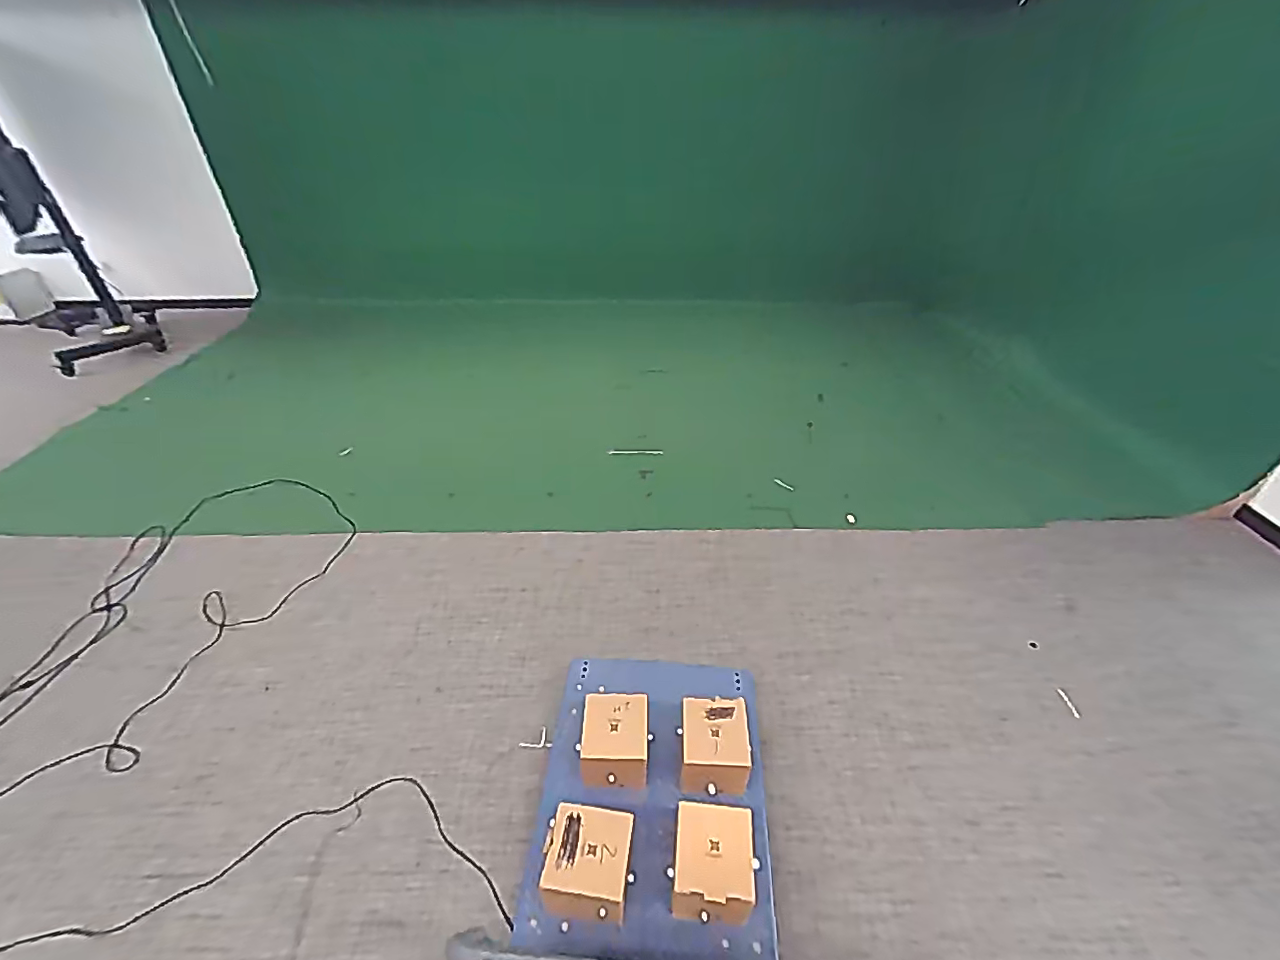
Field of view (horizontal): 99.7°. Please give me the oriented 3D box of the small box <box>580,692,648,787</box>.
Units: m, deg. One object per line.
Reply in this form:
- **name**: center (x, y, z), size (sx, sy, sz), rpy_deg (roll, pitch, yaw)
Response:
- **small box**: center (-0.063, 0.689, 1.429), size (0.168, 0.176, 0.179), rpy_deg (2, 37, 1)

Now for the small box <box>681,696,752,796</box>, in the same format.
- **small box**: center (0.194, 0.696, 1.418), size (0.168, 0.176, 0.179), rpy_deg (1, 38, 3)

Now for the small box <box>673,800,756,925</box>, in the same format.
- **small box**: center (0.162, 0.855, 1.212), size (0.168, 0.176, 0.179), rpy_deg (4, 38, 5)
